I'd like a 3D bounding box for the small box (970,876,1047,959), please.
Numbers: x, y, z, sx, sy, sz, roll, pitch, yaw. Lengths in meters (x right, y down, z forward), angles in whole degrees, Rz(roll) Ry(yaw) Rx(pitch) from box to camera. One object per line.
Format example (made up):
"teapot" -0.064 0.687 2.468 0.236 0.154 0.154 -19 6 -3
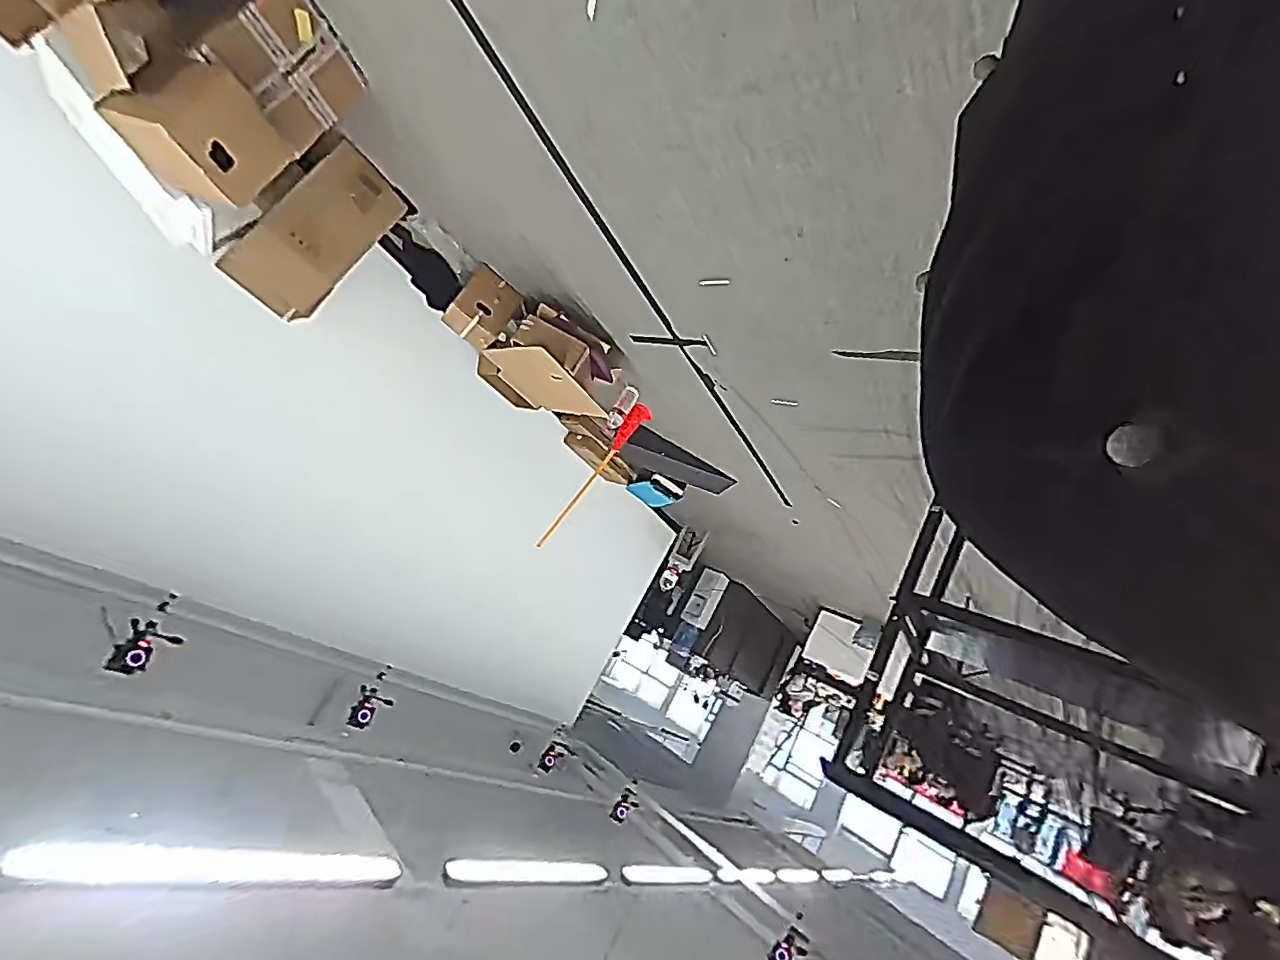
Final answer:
"small box" 1.166 1.394 1.711 0.168 0.176 0.179 17 162 41
